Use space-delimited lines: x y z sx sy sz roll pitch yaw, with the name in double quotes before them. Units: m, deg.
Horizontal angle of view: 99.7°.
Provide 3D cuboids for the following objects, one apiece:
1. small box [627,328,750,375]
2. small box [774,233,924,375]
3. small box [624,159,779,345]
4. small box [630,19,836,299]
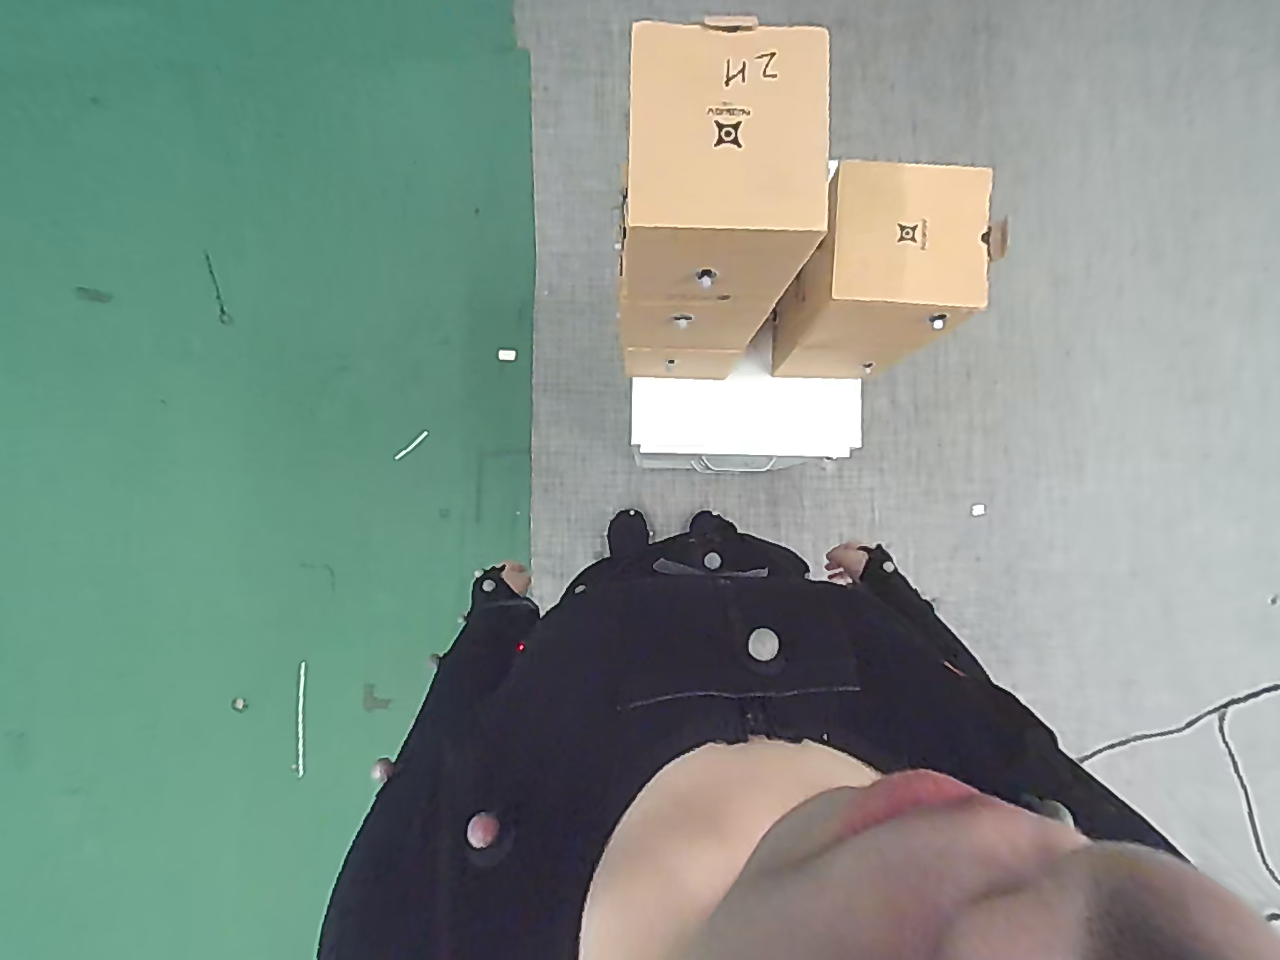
"small box" 0.072 -0.266 0.851 0.179 0.176 0.168 2 88 -1
"small box" 0.318 -0.266 0.848 0.179 0.176 0.168 2 87 3
"small box" 0.070 -0.276 0.686 0.179 0.176 0.168 1 88 -1
"small box" 0.076 -0.287 0.521 0.168 0.176 0.179 1 88 -1
